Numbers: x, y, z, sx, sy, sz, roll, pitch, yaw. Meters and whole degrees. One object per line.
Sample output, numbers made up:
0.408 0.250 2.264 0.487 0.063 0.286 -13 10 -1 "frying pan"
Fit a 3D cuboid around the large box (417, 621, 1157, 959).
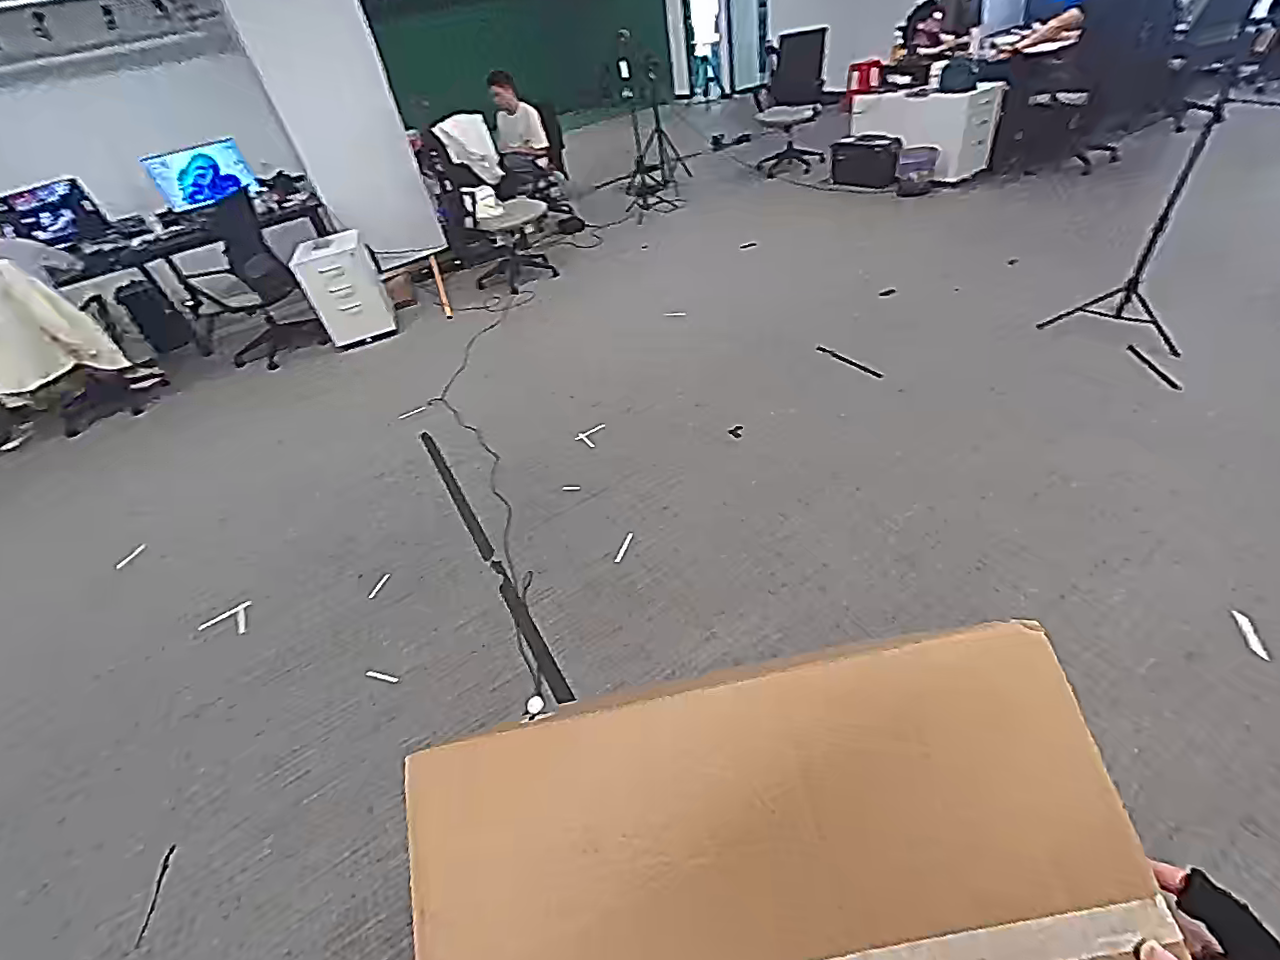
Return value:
0.091 0.326 0.441 0.408 0.320 0.320 -14 72 2 "large box"
